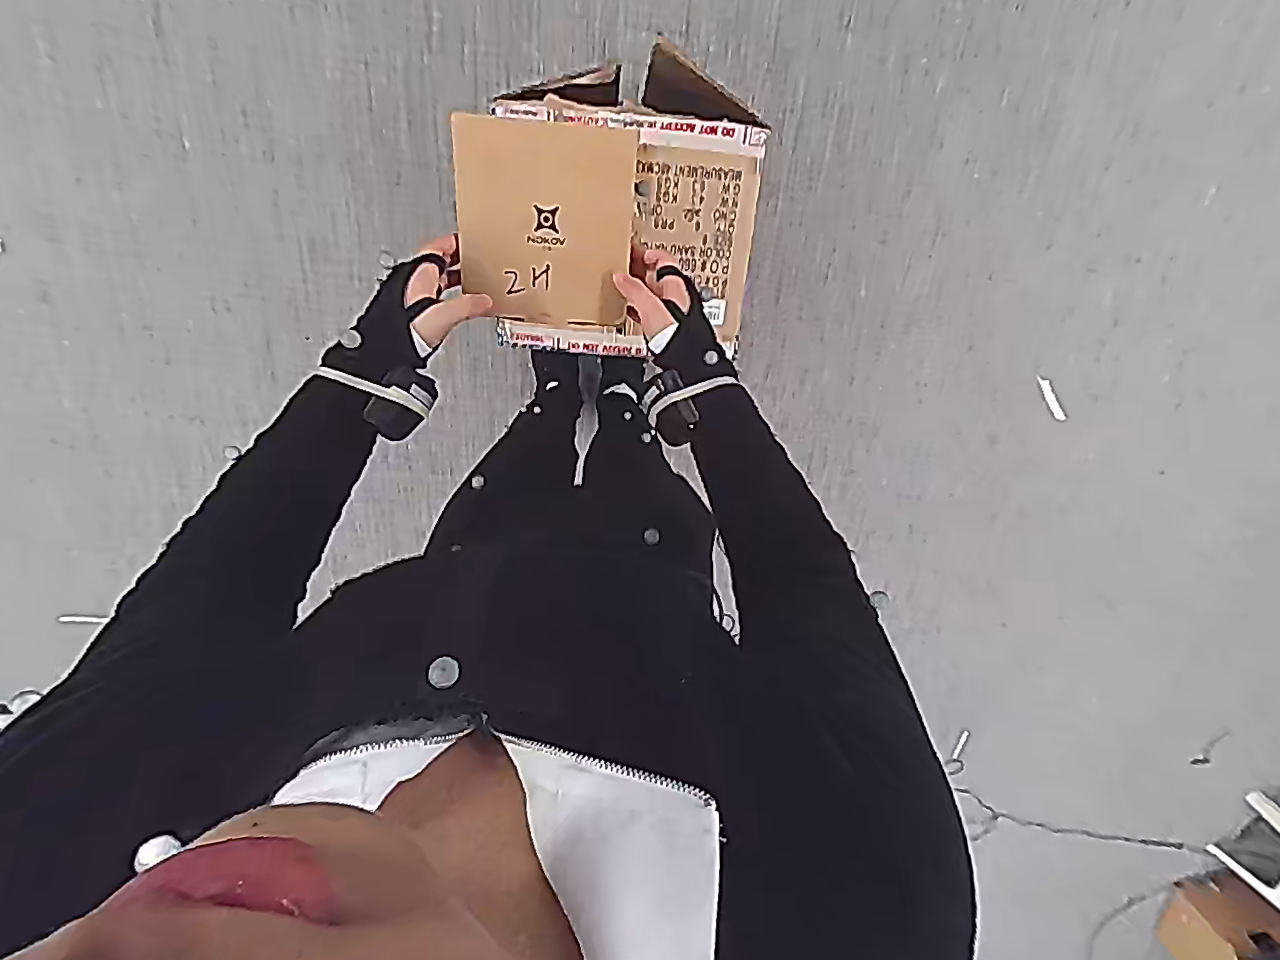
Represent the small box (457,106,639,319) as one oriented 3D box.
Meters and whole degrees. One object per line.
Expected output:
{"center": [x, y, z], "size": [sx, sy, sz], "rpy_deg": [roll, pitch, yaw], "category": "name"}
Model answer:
{"center": [-0.093, -0.286, 0.593], "size": [0.168, 0.176, 0.179], "rpy_deg": [3, 117, -3], "category": "small box"}
